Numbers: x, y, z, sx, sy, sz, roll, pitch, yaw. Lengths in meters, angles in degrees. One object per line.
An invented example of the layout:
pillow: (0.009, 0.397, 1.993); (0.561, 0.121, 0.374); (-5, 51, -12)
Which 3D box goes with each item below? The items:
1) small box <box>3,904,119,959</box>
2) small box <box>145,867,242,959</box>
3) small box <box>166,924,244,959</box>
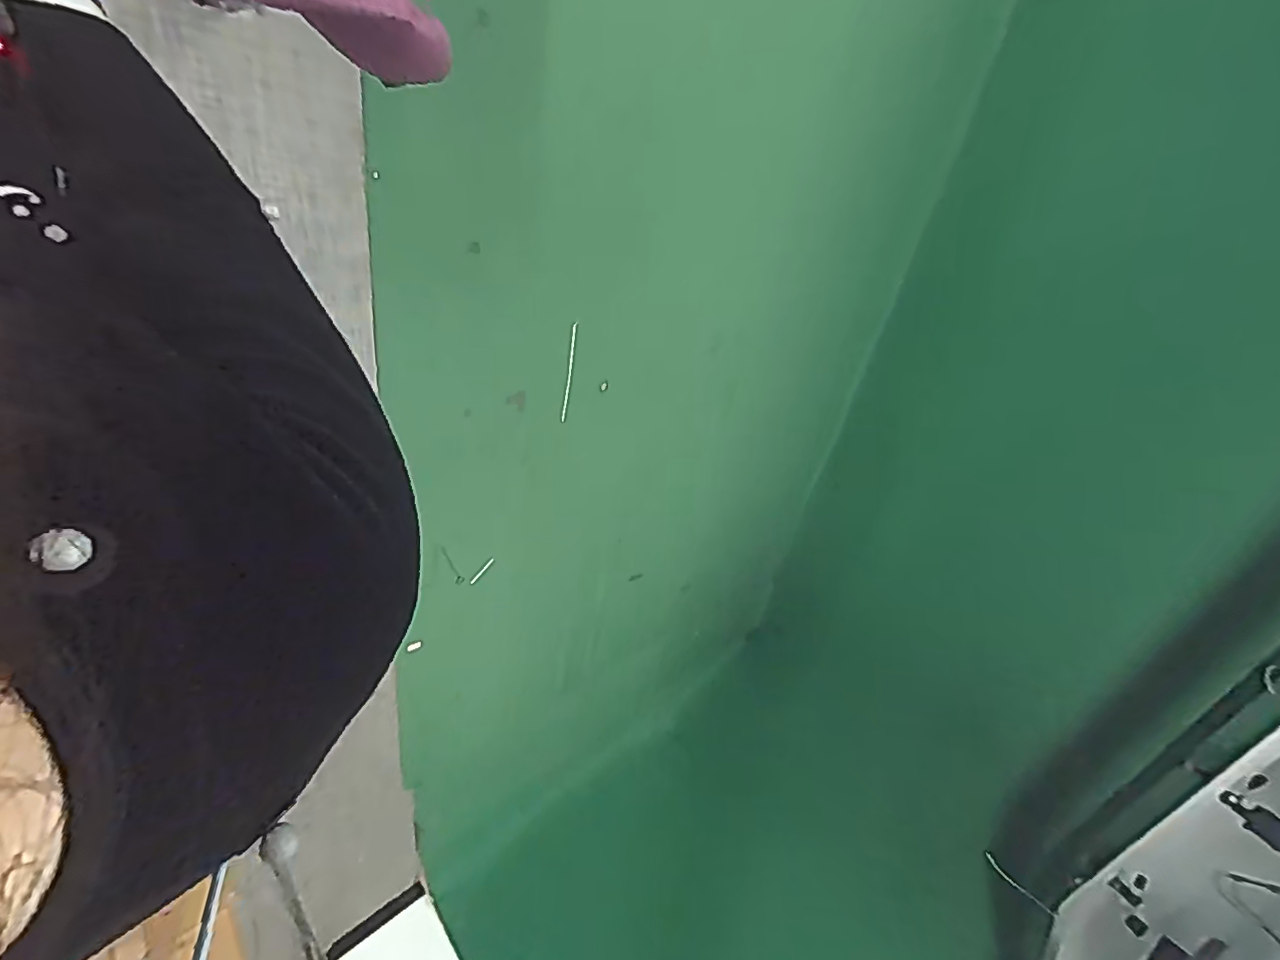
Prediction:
small box: (-1.309, 1.125, 1.230); (0.168, 0.176, 0.179); (-12, 129, -44)
small box: (-1.180, 1.178, 1.430); (0.168, 0.176, 0.179); (-14, 130, -43)
small box: (-1.076, 1.262, 1.335); (0.168, 0.176, 0.179); (-14, 128, -43)
